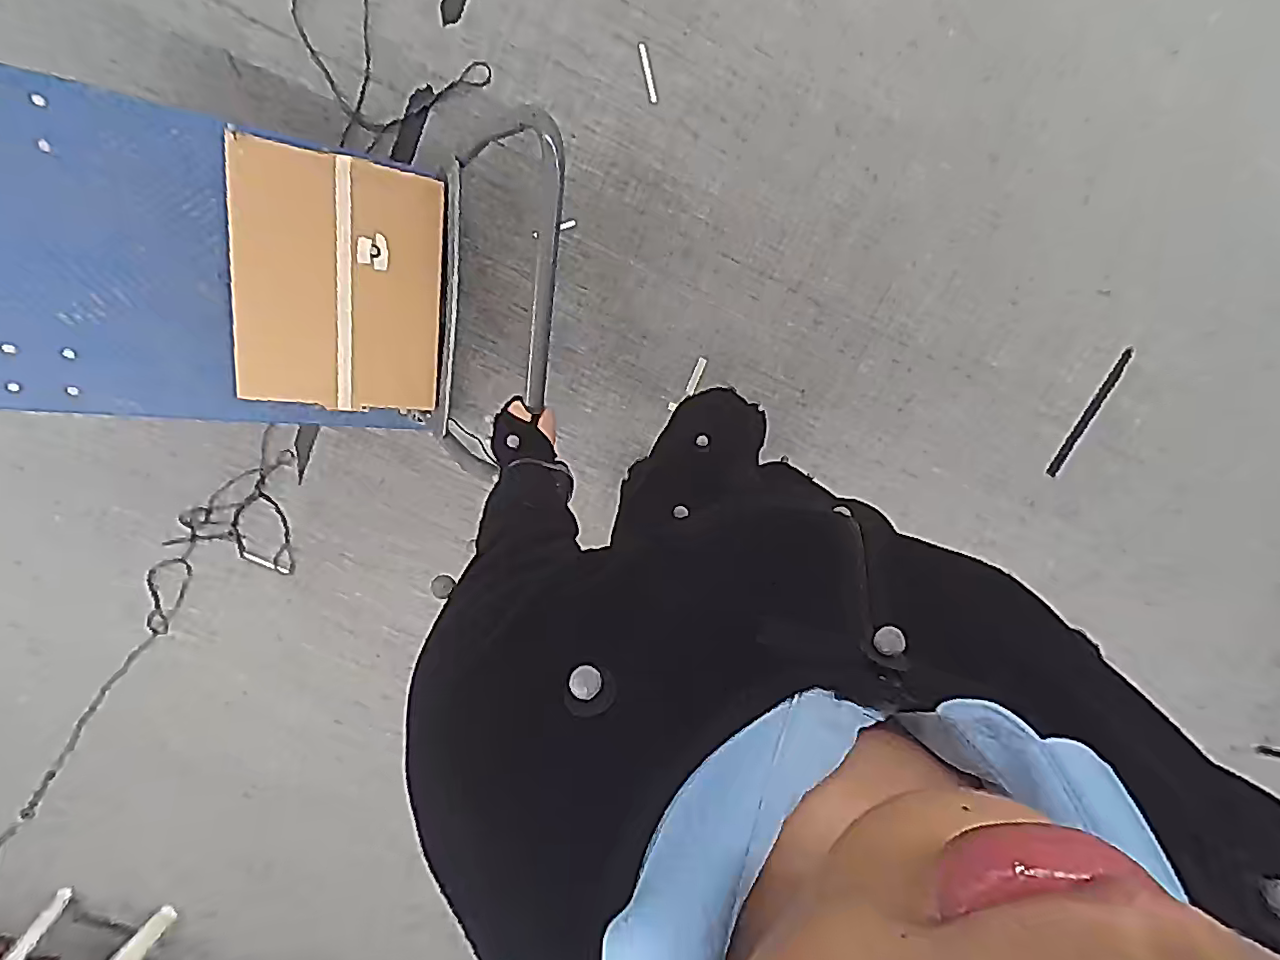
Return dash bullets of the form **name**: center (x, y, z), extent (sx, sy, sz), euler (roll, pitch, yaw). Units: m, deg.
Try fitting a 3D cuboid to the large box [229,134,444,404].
- **large box**: center (-0.566, -0.371, 1.057), extent (0.320, 0.320, 0.408), euler (0, 105, -27)
